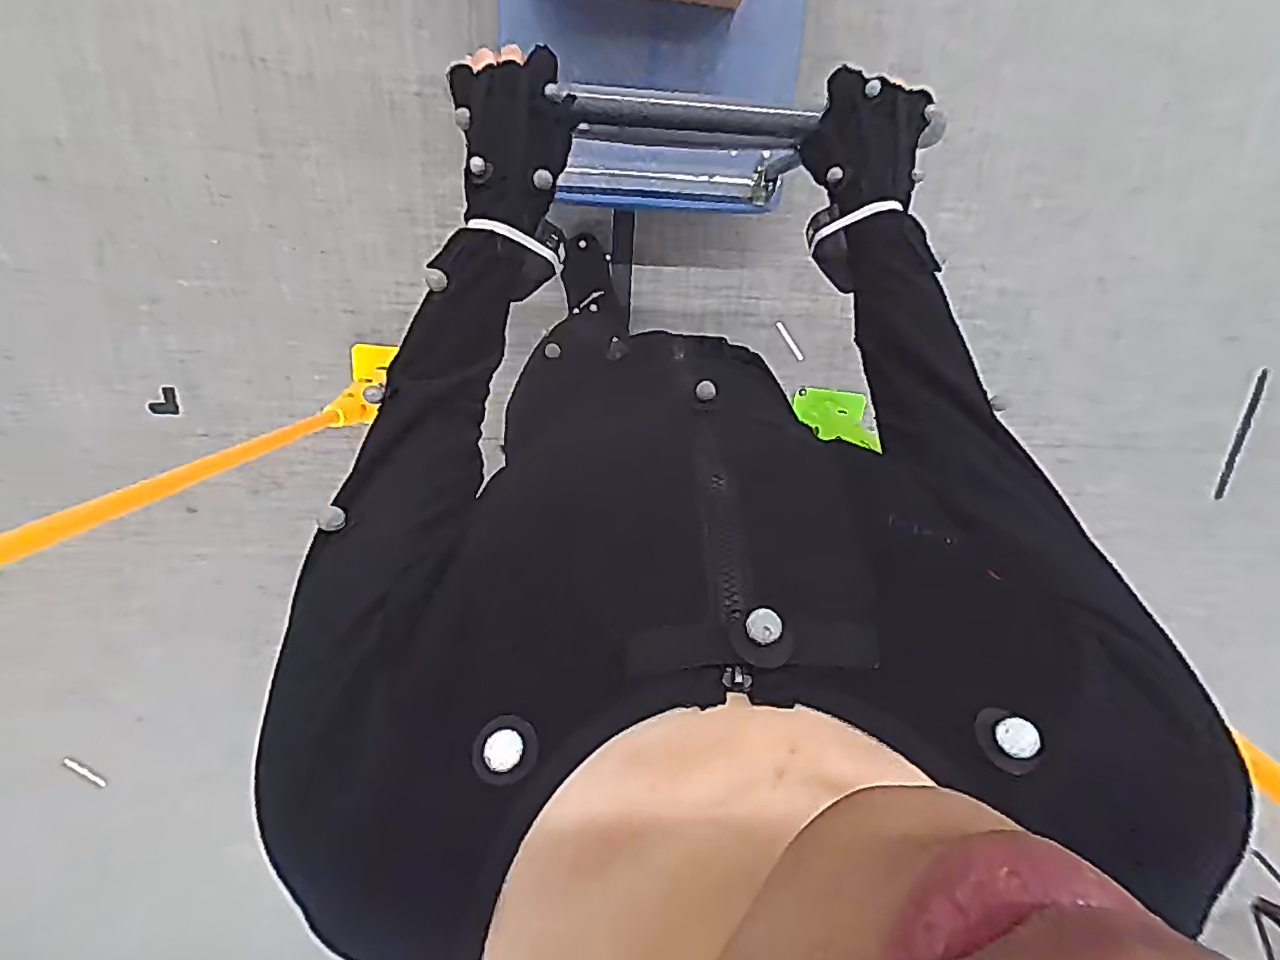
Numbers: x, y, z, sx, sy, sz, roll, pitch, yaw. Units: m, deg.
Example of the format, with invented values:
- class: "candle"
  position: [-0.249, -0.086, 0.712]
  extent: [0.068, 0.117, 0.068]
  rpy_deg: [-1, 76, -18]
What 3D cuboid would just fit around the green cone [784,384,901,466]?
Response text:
- class: "green cone"
  position: [0.518, -0.103, 1.324]
  extent: [0.202, 0.368, 0.200]
  rpy_deg: [4, 108, -7]
